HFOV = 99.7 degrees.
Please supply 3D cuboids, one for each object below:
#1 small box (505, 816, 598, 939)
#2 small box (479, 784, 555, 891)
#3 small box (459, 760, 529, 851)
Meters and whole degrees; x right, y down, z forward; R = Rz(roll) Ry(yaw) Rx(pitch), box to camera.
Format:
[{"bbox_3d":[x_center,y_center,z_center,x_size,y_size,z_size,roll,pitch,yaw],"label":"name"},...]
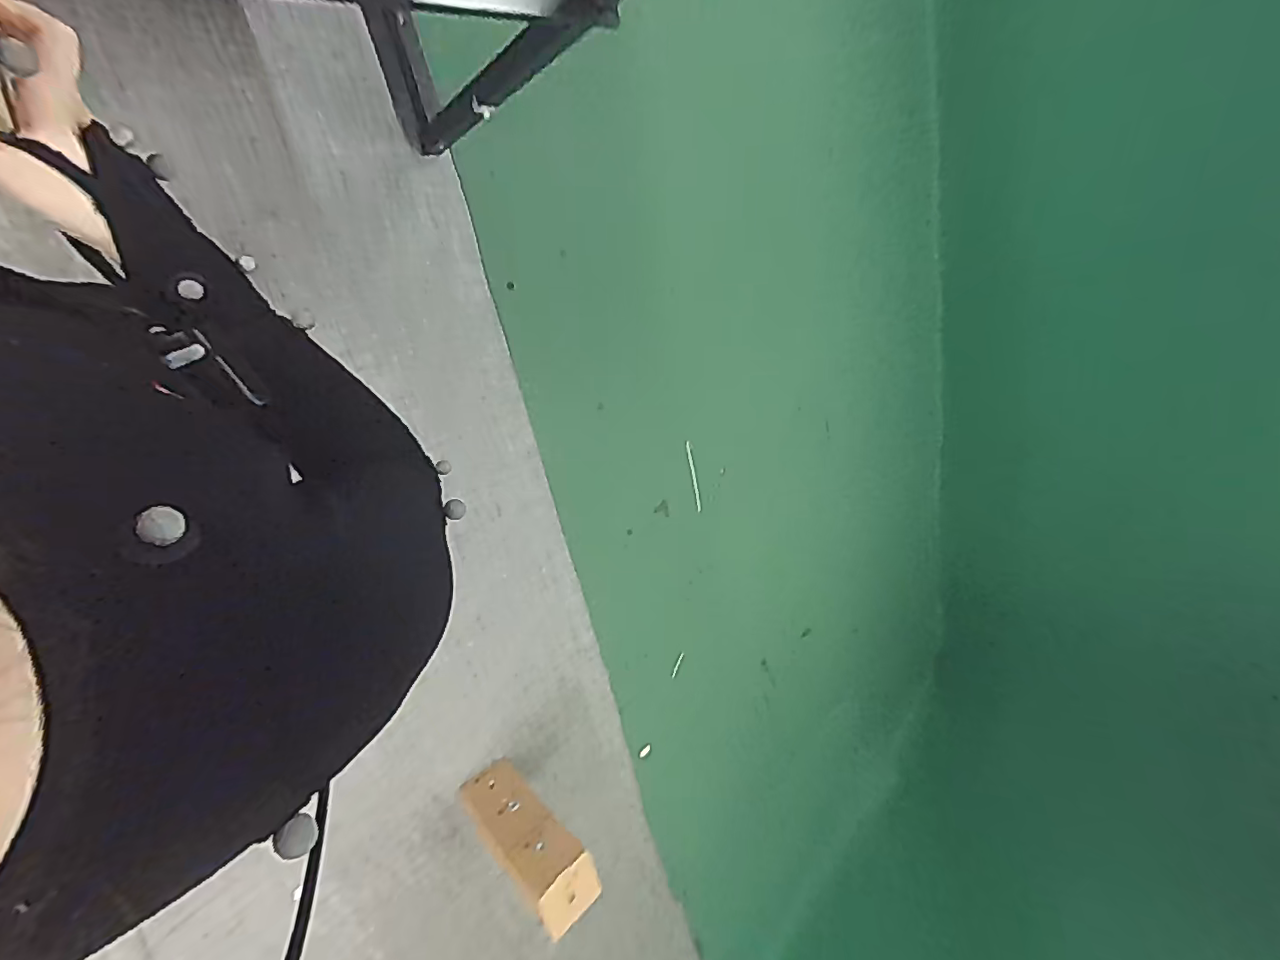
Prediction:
[{"bbox_3d":[-0.242,1.070,1.473,0.168,0.176,0.179,-28,115,-37],"label":"small box"},{"bbox_3d":[-0.349,1.050,1.597,0.168,0.176,0.179,-28,114,-37],"label":"small box"},{"bbox_3d":[-0.454,1.028,1.719,0.168,0.176,0.179,-23,112,-37],"label":"small box"}]
